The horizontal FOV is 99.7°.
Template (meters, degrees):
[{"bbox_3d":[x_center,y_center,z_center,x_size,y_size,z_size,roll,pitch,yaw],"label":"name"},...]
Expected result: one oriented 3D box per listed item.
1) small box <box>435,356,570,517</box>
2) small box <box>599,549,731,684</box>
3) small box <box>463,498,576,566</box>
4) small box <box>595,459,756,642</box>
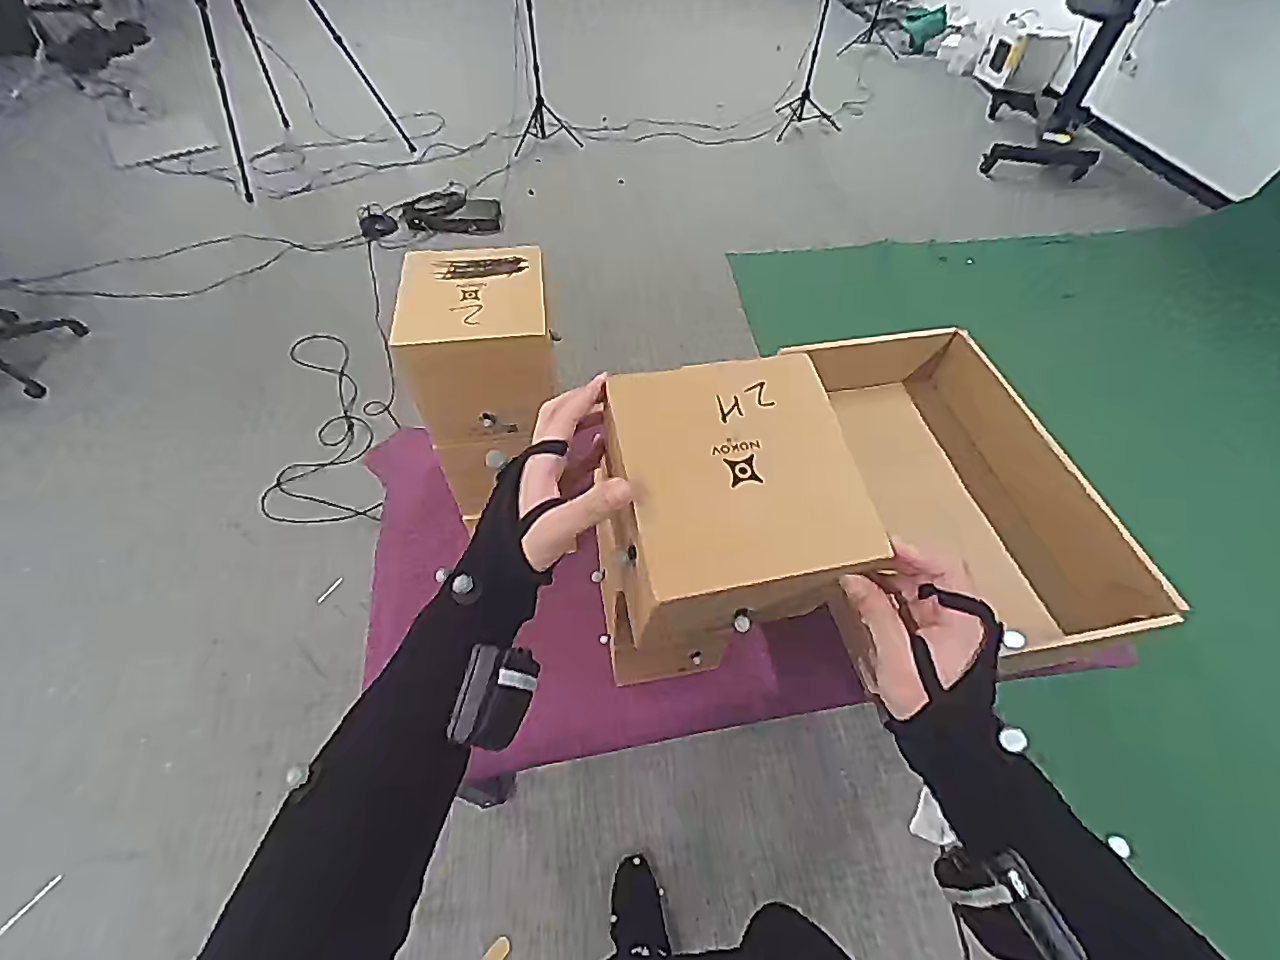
[{"bbox_3d":[-0.197,-0.065,0.819,0.168,0.176,0.179,-5,54,-5],"label":"small box"},{"bbox_3d":[0.031,0.200,0.832,0.168,0.176,0.179,-7,52,-7],"label":"small box"},{"bbox_3d":[-0.208,0.037,0.948,0.168,0.176,0.179,-9,53,-8],"label":"small box"},{"bbox_3d":[0.035,0.098,0.704,0.168,0.176,0.179,-7,54,-8],"label":"small box"}]
